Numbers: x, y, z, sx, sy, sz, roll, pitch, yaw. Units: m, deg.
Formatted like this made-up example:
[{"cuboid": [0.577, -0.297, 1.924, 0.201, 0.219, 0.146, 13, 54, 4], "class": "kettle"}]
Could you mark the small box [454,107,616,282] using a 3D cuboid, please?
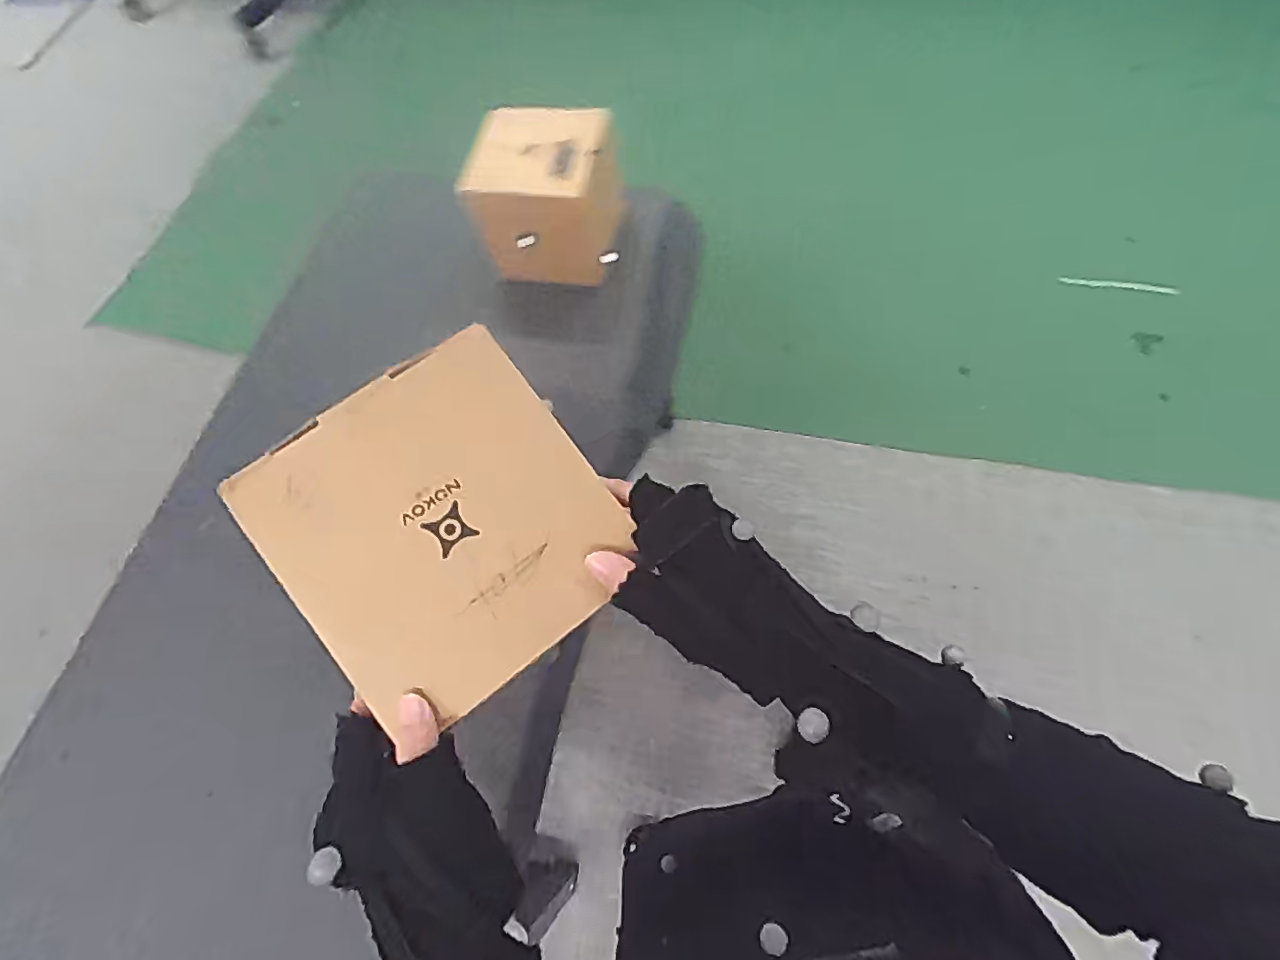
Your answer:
[{"cuboid": [-0.143, -0.422, 0.816, 0.179, 0.176, 0.168, 9, 70, 11], "class": "small box"}]
